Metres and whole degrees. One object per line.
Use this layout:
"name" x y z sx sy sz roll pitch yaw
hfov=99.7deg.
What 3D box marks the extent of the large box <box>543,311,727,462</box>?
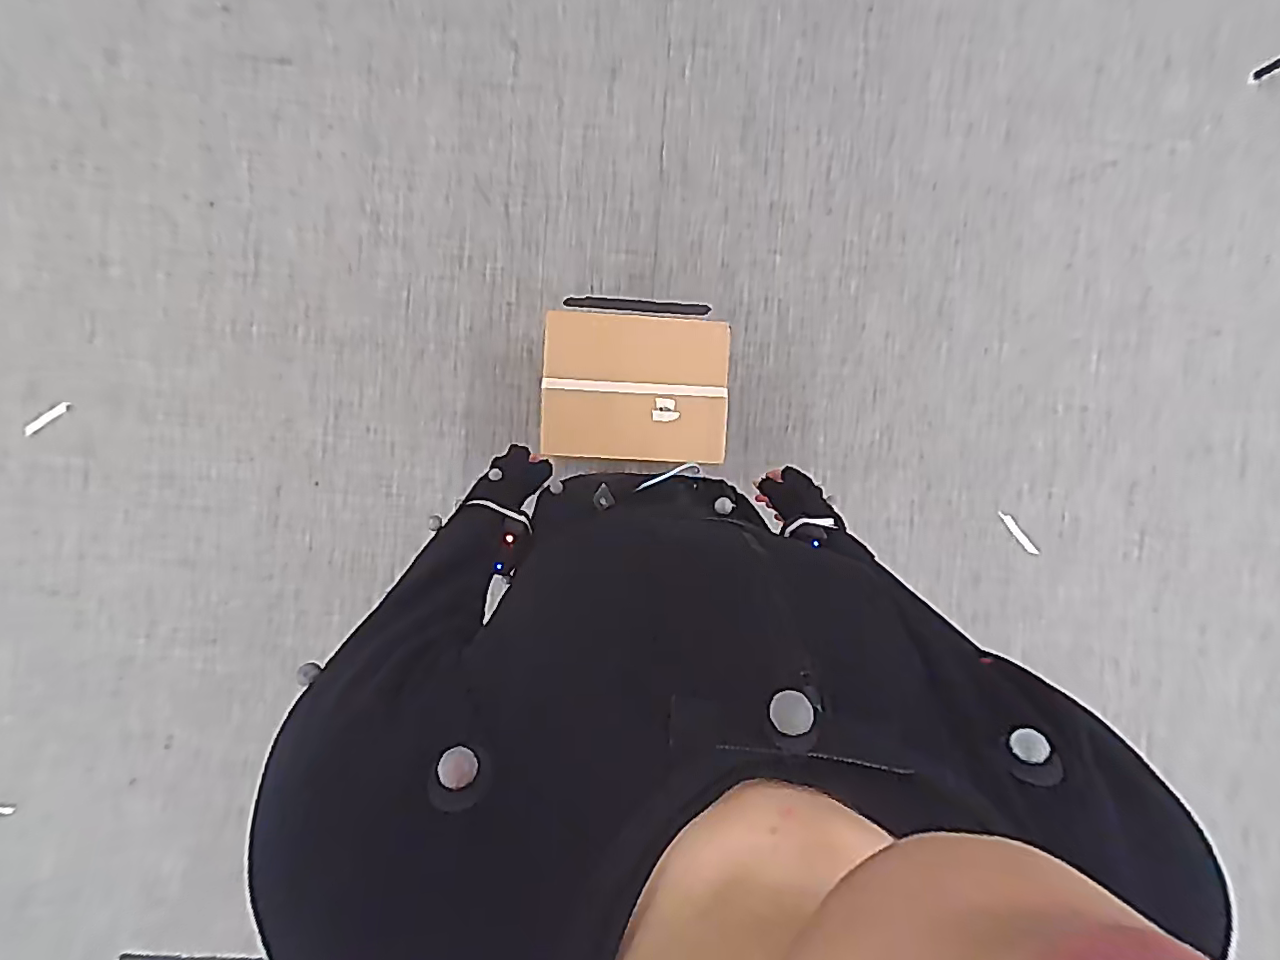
"large box" -0.021 -0.209 1.335 0.408 0.320 0.320 3 91 -4
